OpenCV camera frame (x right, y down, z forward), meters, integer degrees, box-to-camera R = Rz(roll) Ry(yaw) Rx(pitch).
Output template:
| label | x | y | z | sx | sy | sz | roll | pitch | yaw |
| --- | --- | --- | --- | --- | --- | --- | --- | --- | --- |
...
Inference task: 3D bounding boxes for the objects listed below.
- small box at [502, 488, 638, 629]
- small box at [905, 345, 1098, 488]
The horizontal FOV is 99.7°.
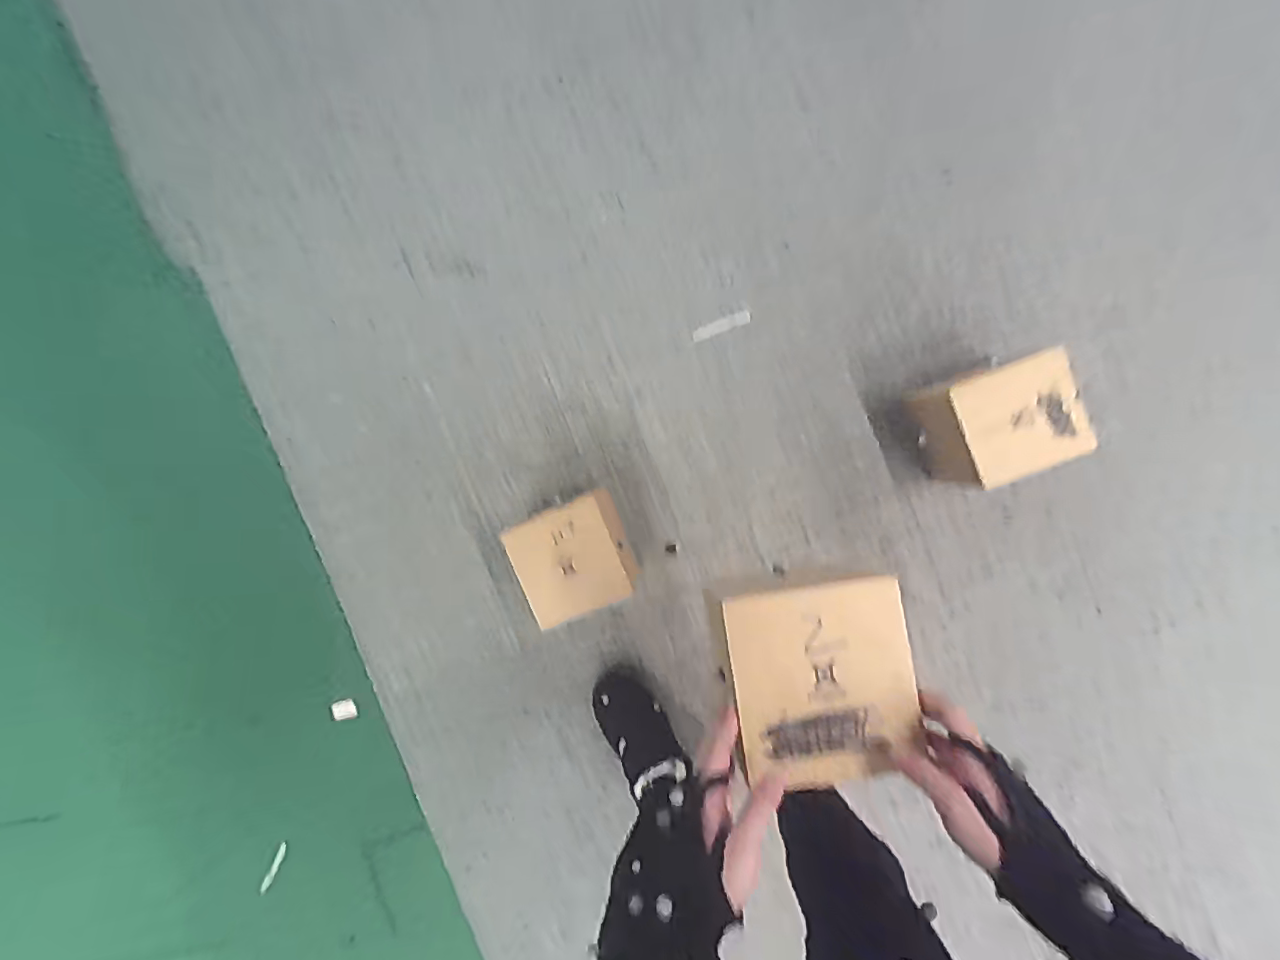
| label | x | y | z | sx | sy | sz | roll | pitch | yaw |
| --- | --- | --- | --- | --- | --- | --- | --- | --- | --- |
| small box | -0.110 | 0.126 | 0.939 | 0.168 | 0.176 | 0.179 | -23 | 92 | 4 |
| small box | 0.571 | -0.100 | 0.877 | 0.179 | 0.176 | 0.168 | -22 | 92 | 6 |
